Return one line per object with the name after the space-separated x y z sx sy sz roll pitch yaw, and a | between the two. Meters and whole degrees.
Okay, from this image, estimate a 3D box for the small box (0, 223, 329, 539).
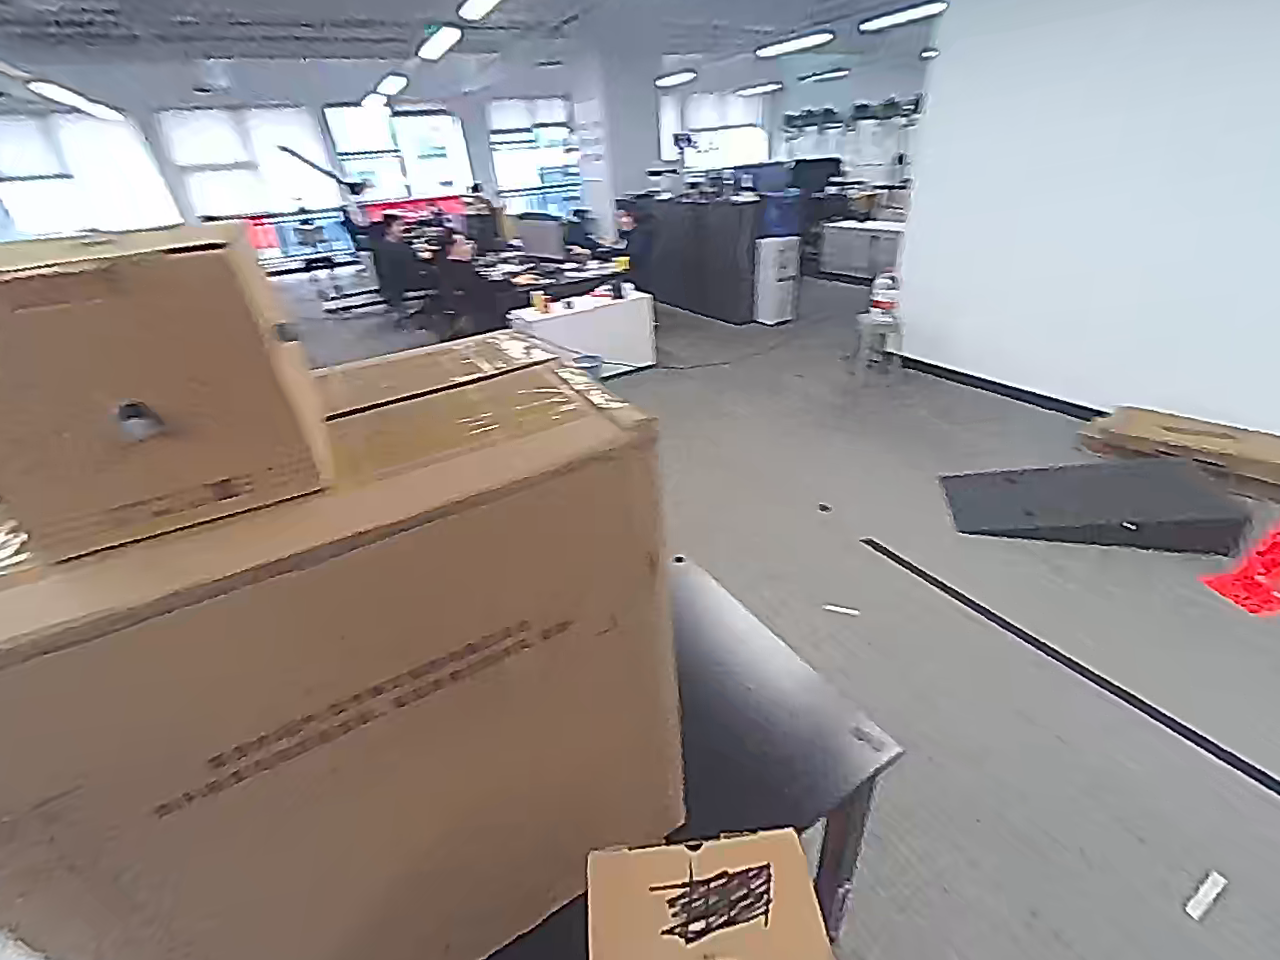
-0.345 -0.076 0.393 0.168 0.176 0.179 -19 36 -24 | small box

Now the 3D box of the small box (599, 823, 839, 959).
0.054 0.394 0.406 0.168 0.176 0.179 -4 37 -3 | small box
